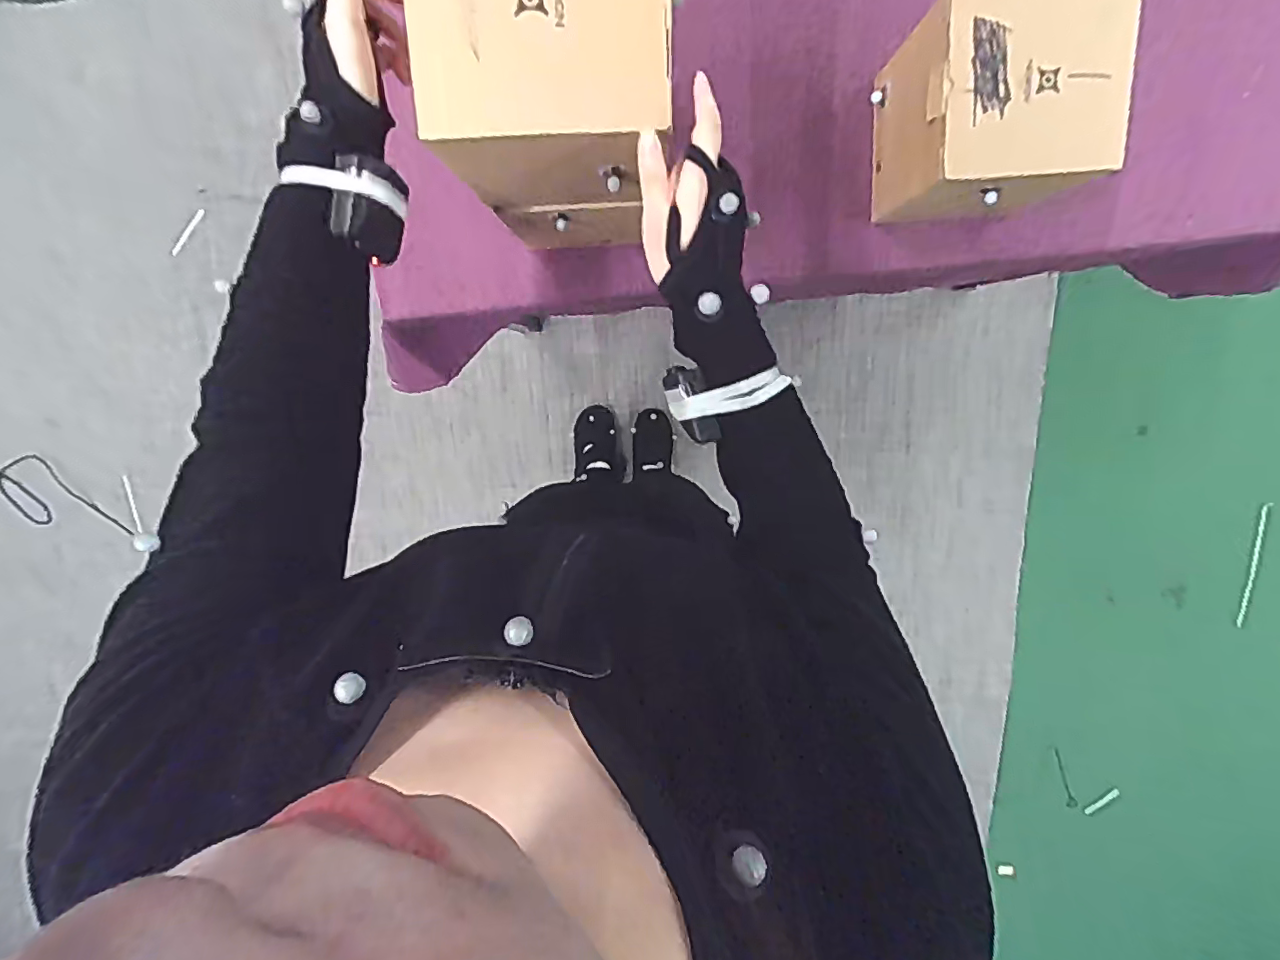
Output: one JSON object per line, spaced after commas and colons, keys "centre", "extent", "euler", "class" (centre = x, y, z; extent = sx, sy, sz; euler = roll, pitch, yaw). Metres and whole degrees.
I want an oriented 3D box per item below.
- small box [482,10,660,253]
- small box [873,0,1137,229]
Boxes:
{"centre": [-0.064, -0.363, 0.596], "extent": [0.168, 0.176, 0.179], "euler": [-2, 101, 1], "class": "small box"}
{"centre": [0.371, -0.382, 0.587], "extent": [0.179, 0.176, 0.168], "euler": [-3, 102, 1], "class": "small box"}
